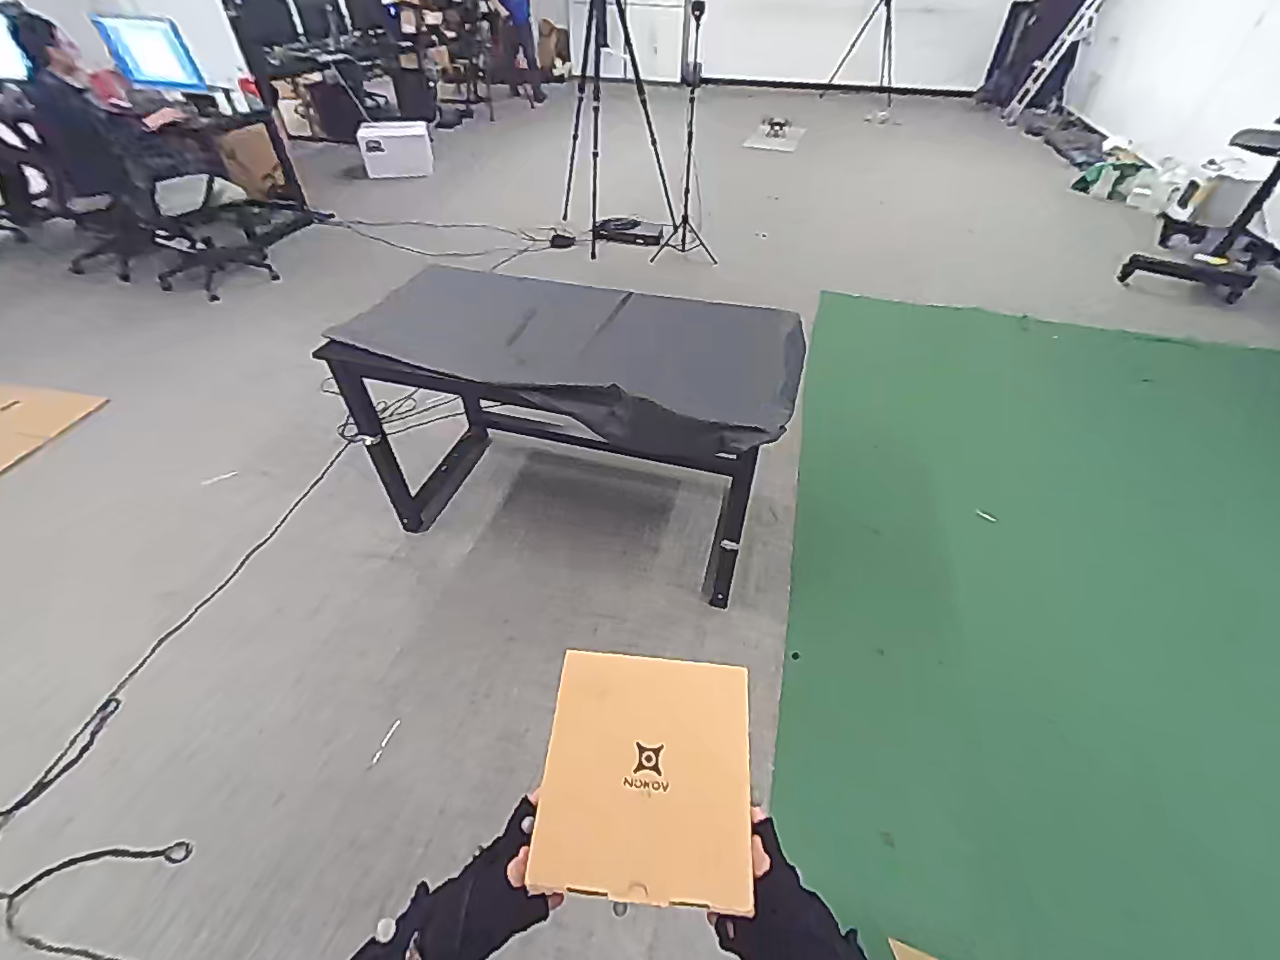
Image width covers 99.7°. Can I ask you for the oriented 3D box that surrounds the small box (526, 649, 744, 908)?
[{"bbox_3d":[0.001,0.280,0.509,0.168,0.176,0.179,6,55,2],"label":"small box"}]
